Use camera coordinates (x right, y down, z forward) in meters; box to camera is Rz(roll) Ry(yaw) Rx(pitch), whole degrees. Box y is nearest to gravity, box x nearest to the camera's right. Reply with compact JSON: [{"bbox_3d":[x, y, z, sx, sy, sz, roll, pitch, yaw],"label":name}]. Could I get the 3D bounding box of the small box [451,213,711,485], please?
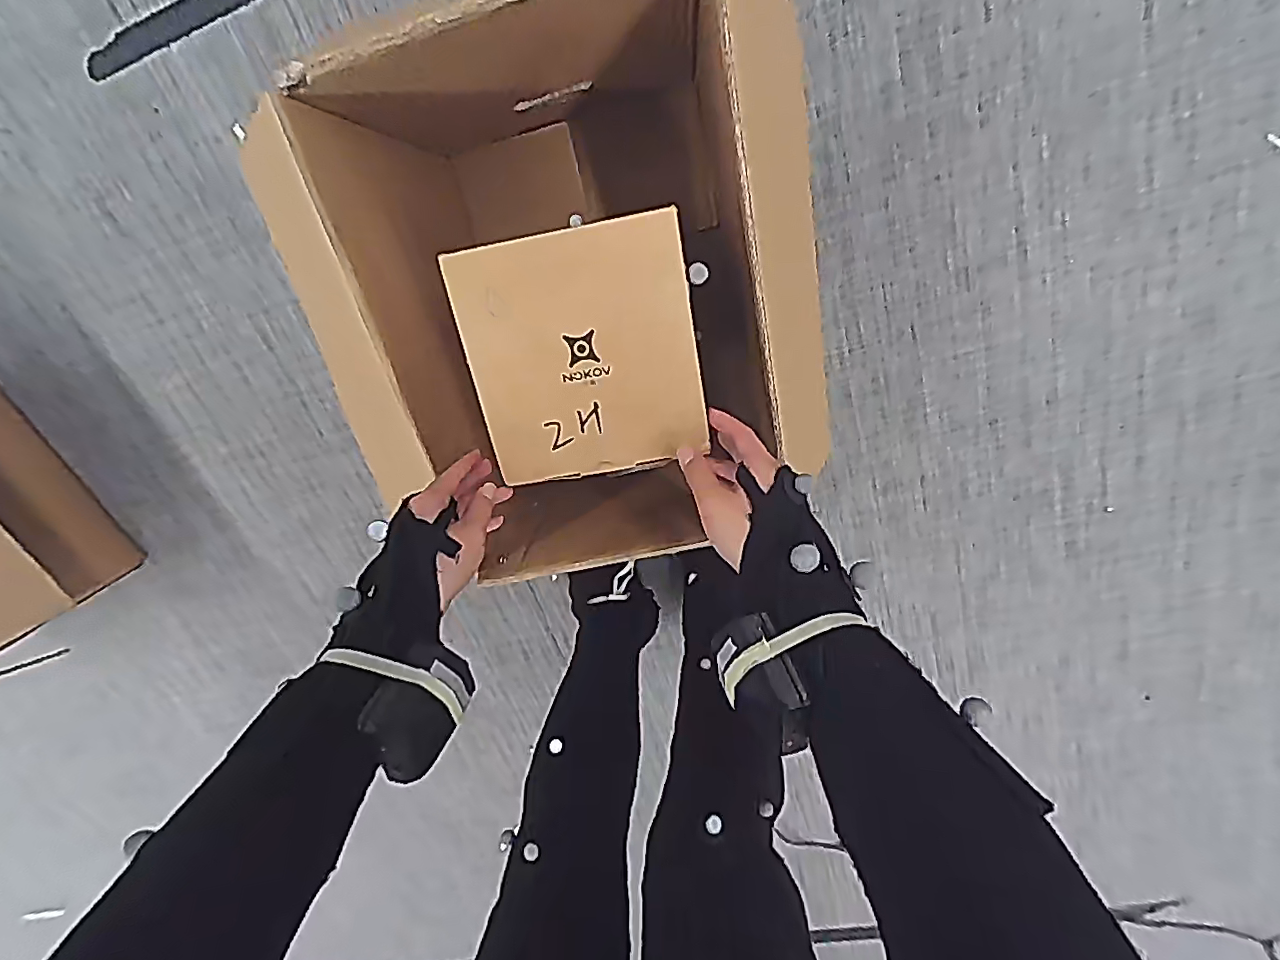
[{"bbox_3d":[-0.038,-0.115,0.473,0.168,0.176,0.179,-9,110,5],"label":"small box"}]
